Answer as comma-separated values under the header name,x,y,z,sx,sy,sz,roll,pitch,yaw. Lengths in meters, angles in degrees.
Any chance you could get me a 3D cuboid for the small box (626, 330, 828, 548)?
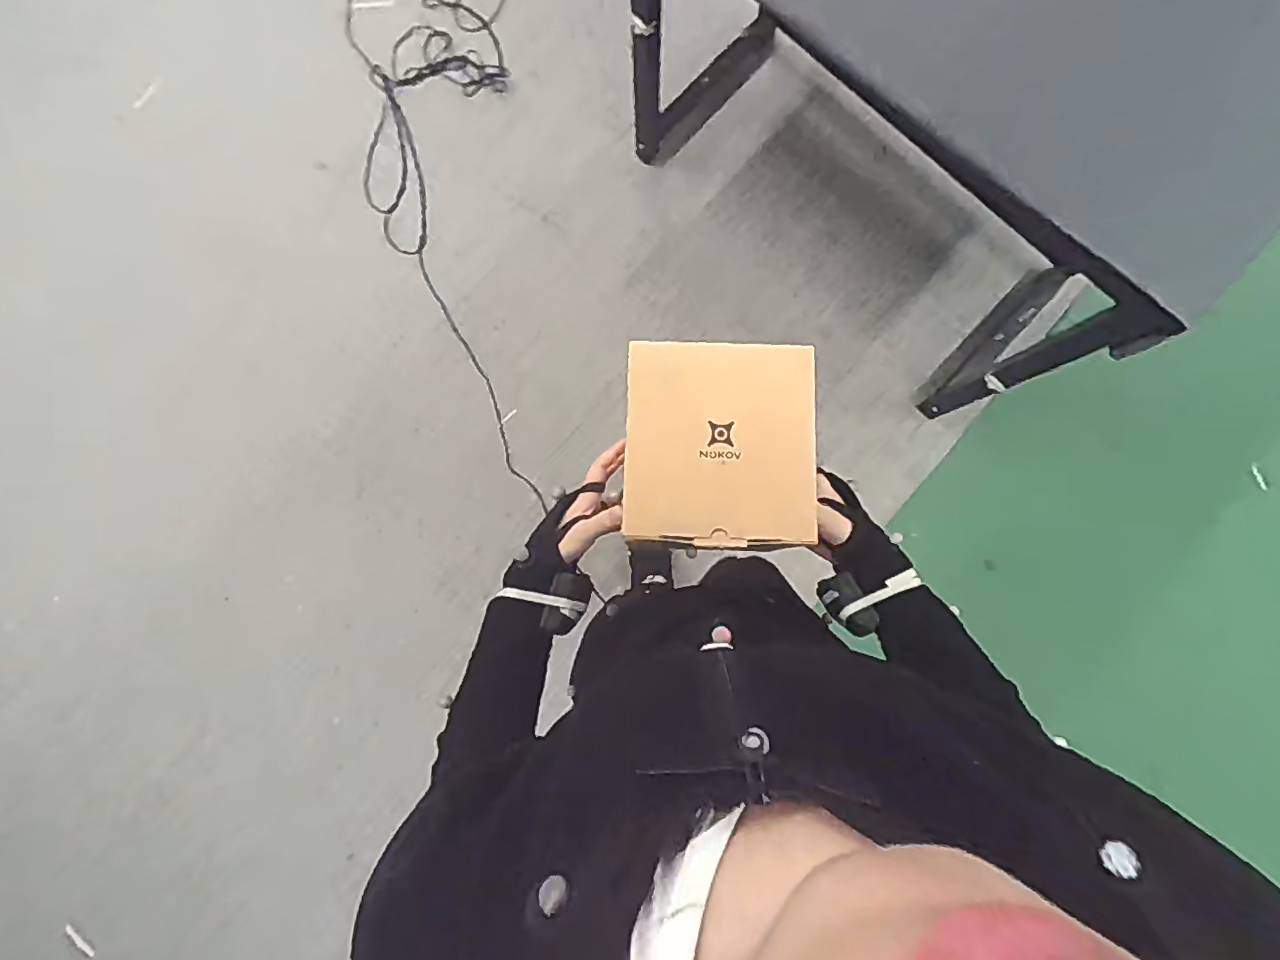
name,x,y,z,sx,sy,sz,roll,pitch,yaw
small box,0.072,-0.027,0.530,0.168,0.176,0.179,2,81,-1
